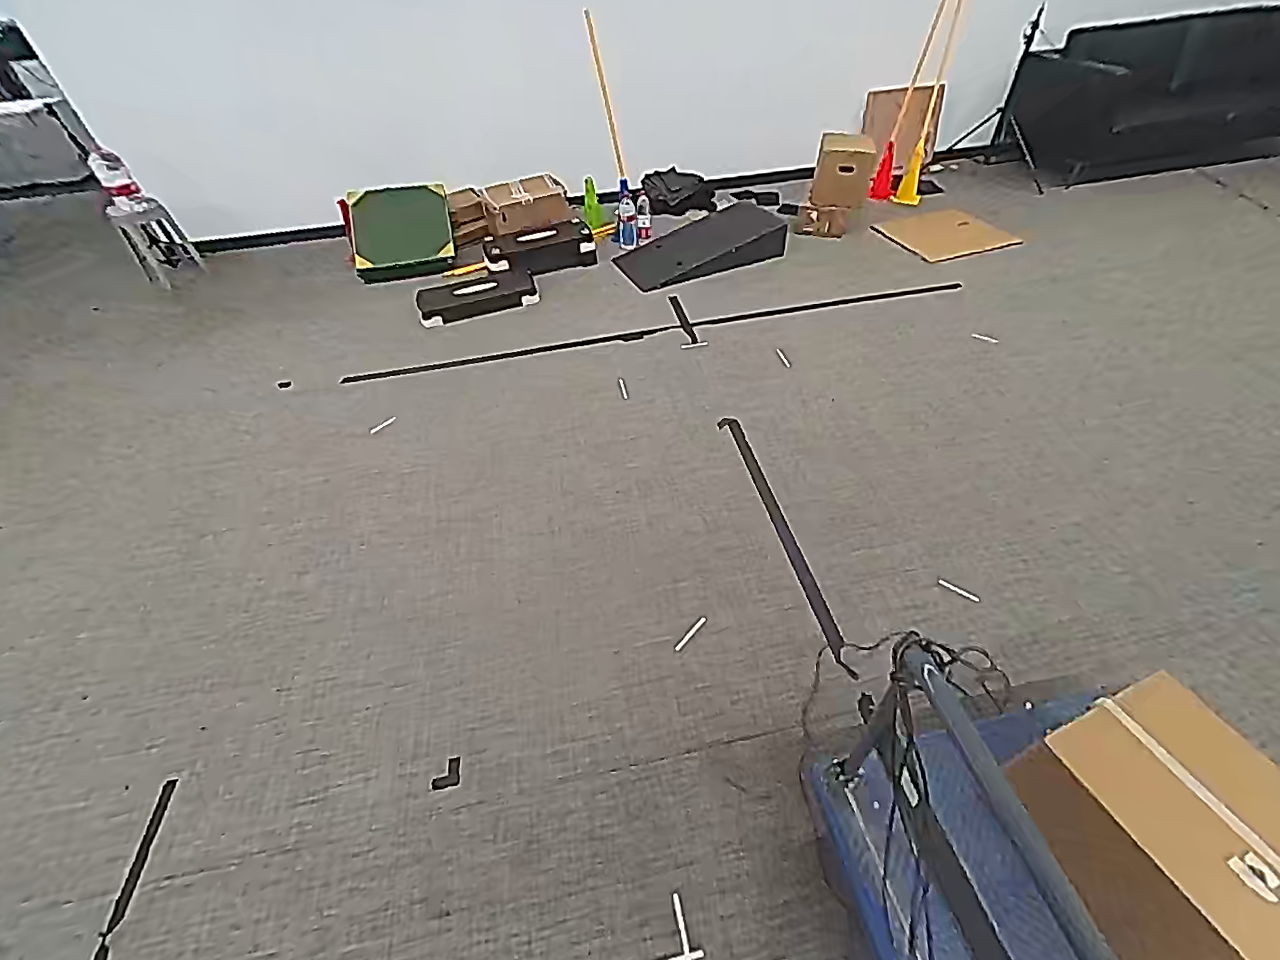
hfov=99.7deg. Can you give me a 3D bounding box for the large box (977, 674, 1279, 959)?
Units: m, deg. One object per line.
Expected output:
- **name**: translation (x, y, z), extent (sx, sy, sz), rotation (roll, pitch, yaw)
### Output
- **large box**: translation (0.926, 0.640, 0.962), extent (0.320, 0.320, 0.408), rotation (-19, 48, -14)
